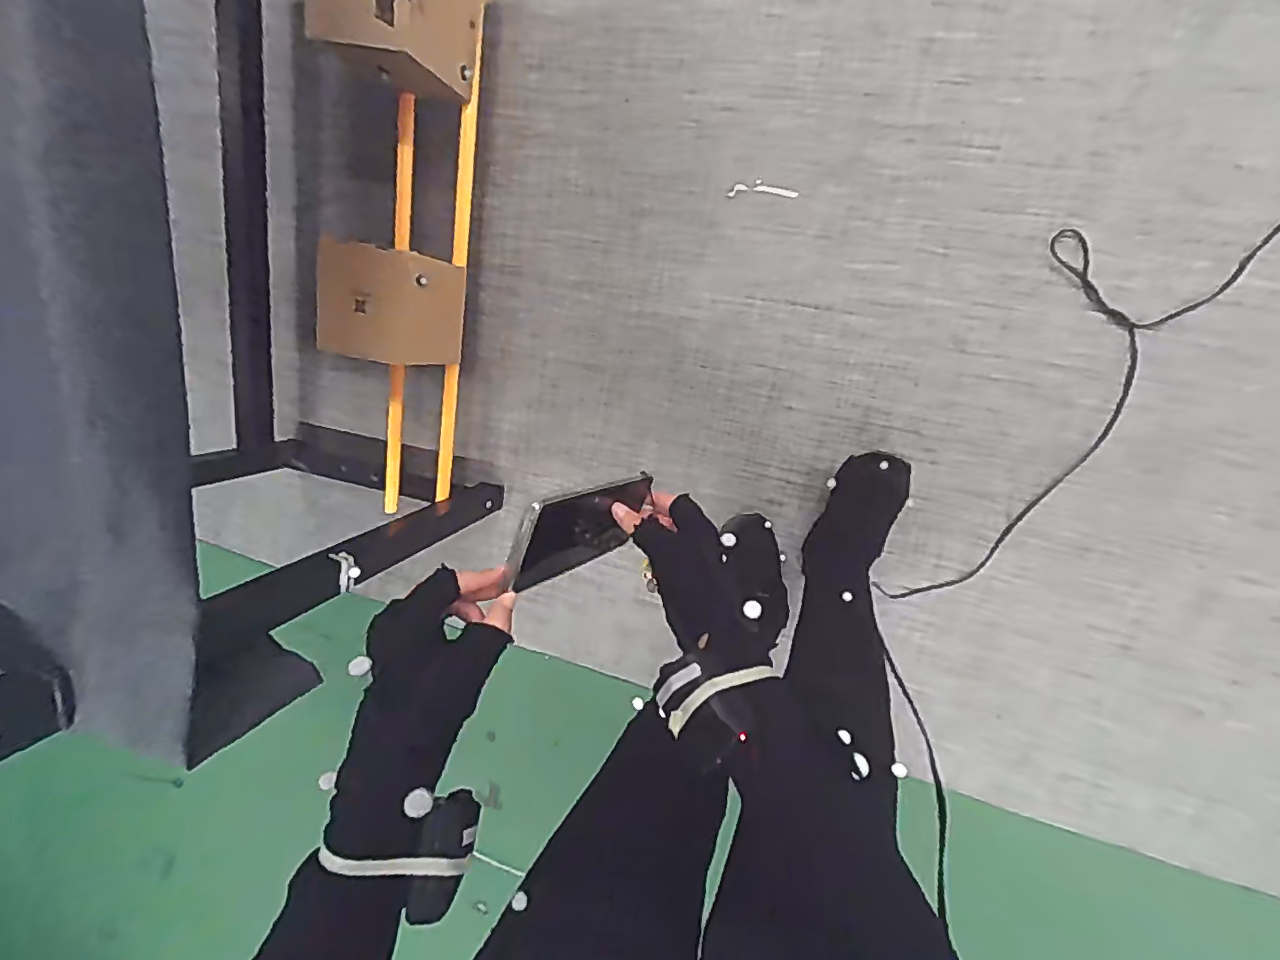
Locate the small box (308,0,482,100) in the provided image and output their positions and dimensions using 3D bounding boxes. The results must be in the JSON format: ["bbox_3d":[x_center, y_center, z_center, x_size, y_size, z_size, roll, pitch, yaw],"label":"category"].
[{"bbox_3d":[-0.362,-0.709,0.820,0.179,0.176,0.168,16,106,12],"label":"small box"}]
